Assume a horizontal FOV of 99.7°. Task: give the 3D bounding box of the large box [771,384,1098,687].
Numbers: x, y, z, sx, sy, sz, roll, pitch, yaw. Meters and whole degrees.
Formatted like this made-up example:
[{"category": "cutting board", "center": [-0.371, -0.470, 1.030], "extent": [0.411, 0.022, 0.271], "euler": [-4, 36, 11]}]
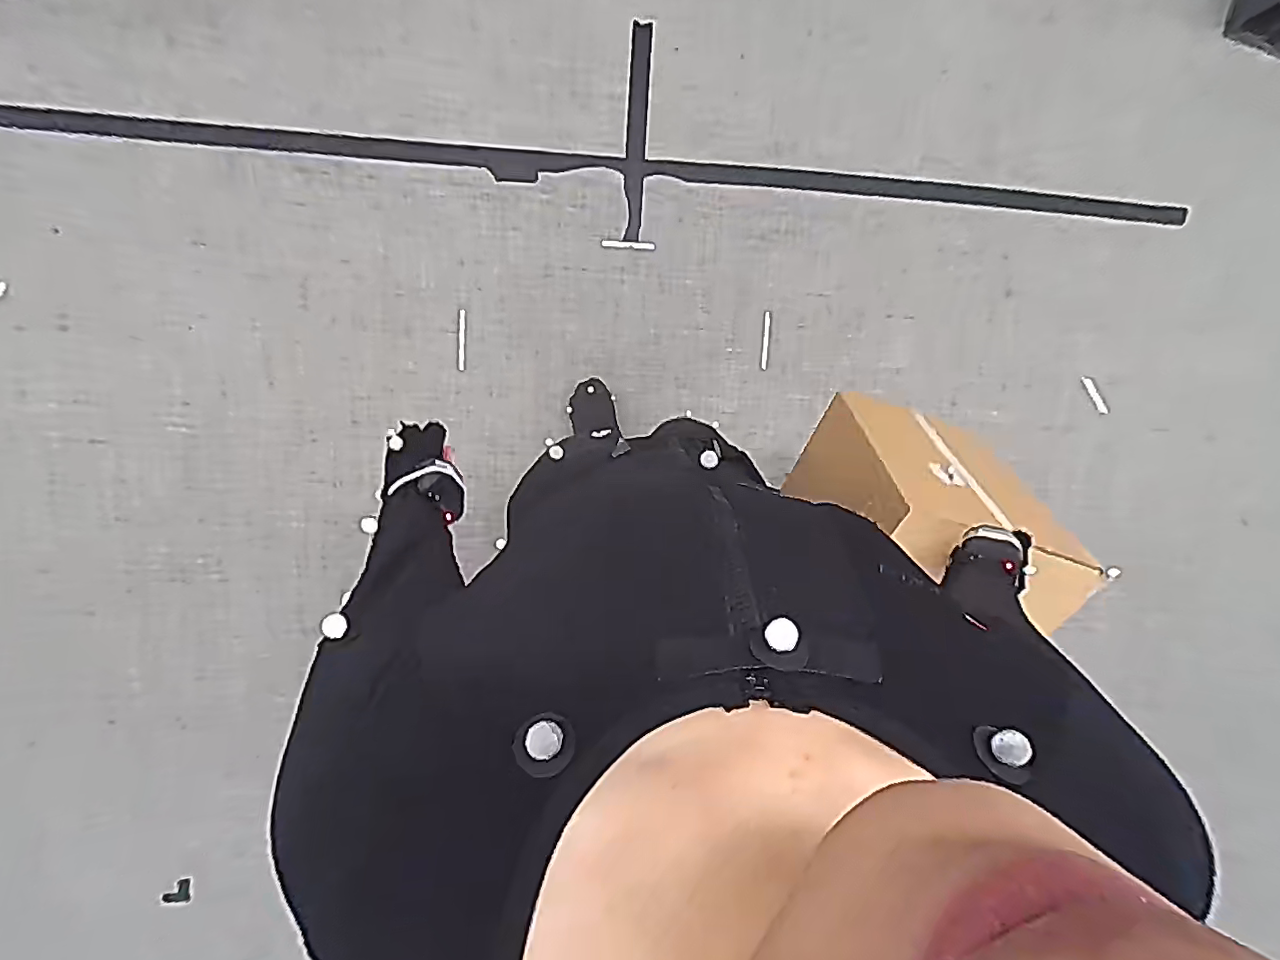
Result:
[{"category": "large box", "center": [0.466, 0.087, 0.982], "extent": [0.320, 0.408, 0.320], "euler": [17, 125, -7]}]
